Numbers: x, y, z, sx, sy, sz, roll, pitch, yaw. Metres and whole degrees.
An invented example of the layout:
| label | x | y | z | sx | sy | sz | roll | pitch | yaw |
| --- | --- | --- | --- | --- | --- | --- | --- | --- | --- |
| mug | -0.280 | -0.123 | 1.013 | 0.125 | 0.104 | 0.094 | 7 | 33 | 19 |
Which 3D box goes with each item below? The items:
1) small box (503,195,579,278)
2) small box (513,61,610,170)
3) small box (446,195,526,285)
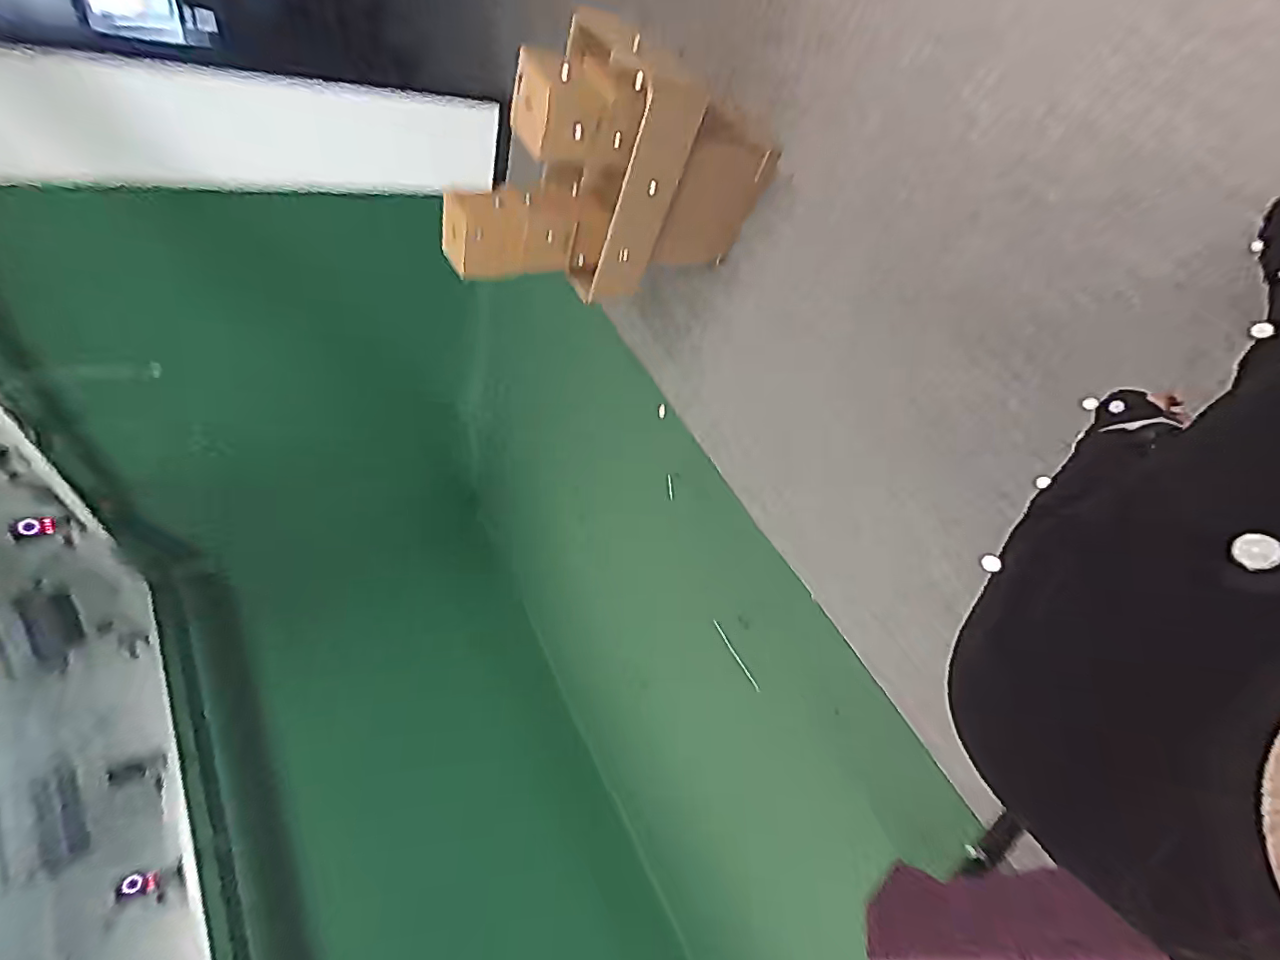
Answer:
| label | x | y | z | sx | sy | sz | roll | pitch | yaw |
| --- | --- | --- | --- | --- | --- | --- | --- | --- | --- |
| small box | -0.303 | -0.728 | 1.612 | 0.179 | 0.176 | 0.168 | 55 | 143 | 26 |
| small box | -0.198 | -0.914 | 1.366 | 0.179 | 0.176 | 0.168 | 58 | 144 | 20 |
| small box | -0.438 | -0.679 | 1.535 | 0.168 | 0.176 | 0.179 | 54 | 142 | 27 |
